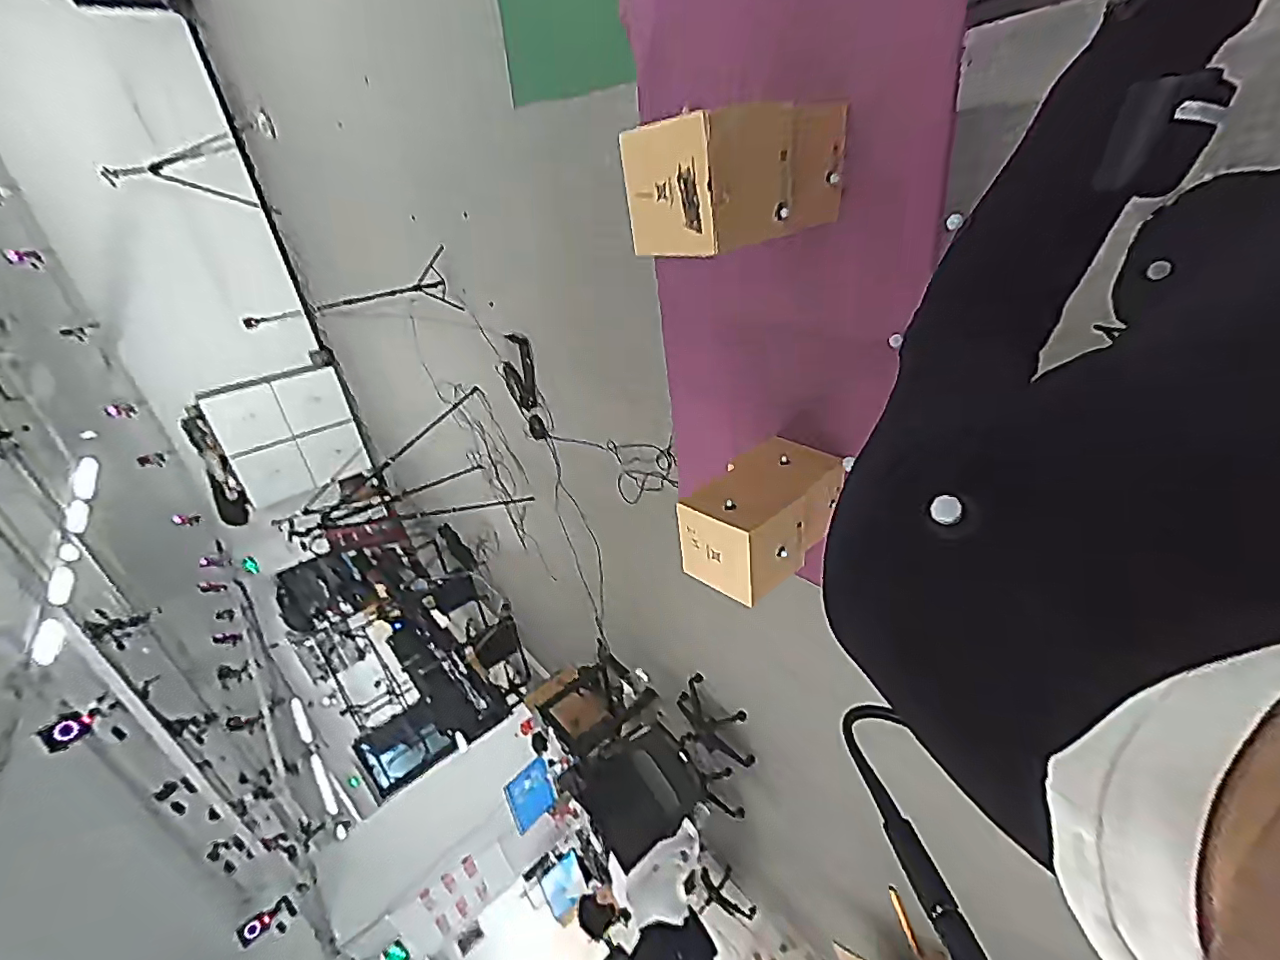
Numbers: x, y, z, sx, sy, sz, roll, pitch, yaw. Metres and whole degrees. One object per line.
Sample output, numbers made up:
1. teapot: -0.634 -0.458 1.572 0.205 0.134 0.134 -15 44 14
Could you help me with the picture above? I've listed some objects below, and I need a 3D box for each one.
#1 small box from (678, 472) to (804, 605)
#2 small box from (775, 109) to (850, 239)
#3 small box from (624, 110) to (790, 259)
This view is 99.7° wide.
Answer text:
1. small box: 0.198 0.102 1.044 0.179 0.176 0.168 23 130 45
2. small box: 0.216 -0.501 0.893 0.179 0.176 0.168 27 135 44
3. small box: 0.104 -0.430 0.794 0.179 0.176 0.168 26 134 46
